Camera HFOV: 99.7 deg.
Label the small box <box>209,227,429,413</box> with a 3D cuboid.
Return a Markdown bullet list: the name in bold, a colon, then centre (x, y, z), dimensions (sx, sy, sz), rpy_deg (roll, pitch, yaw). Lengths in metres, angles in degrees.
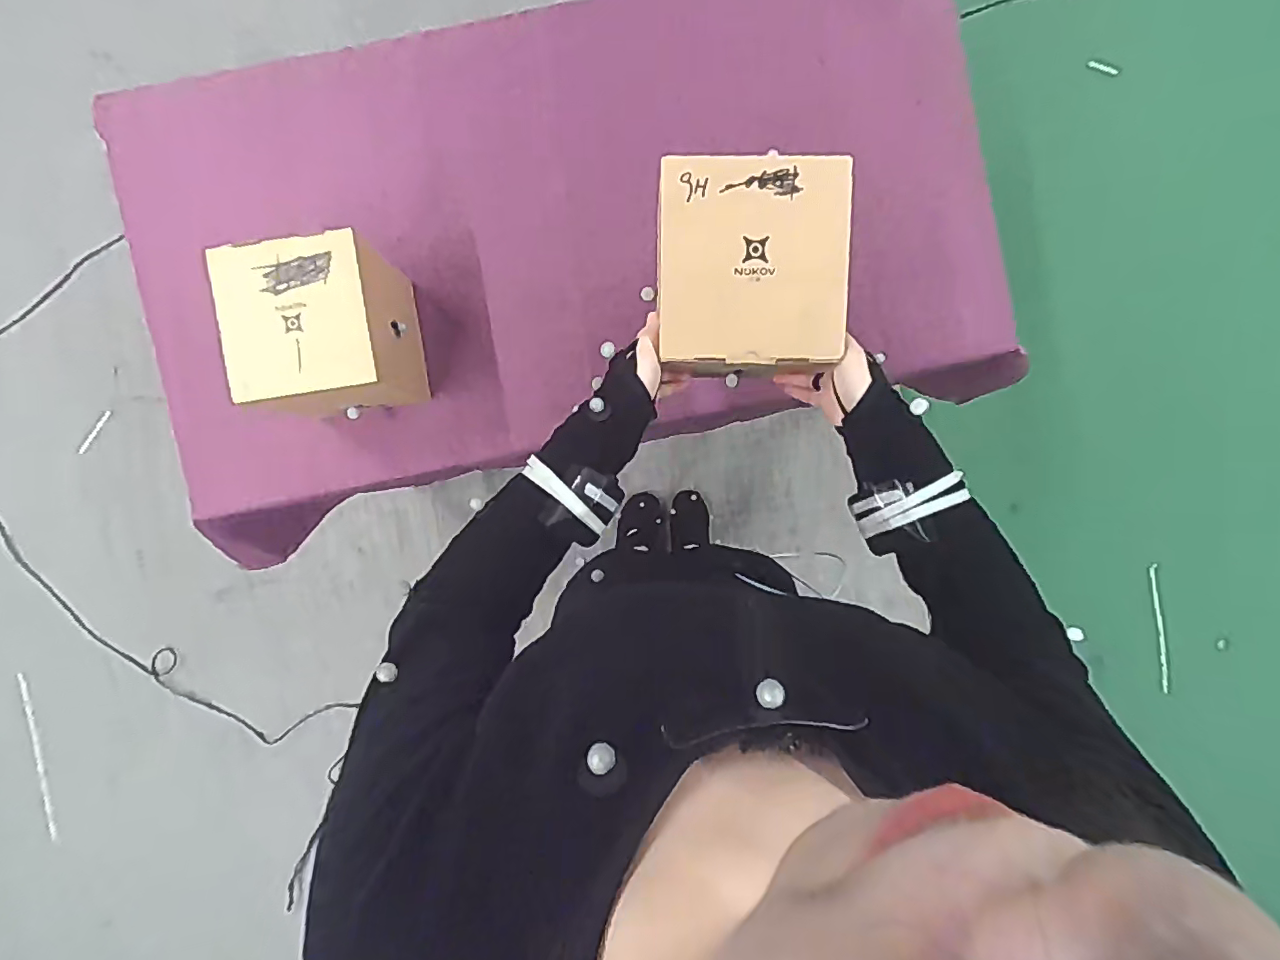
- **small box**: centre (-0.386, -0.188, 0.680), dimensions (0.168, 0.176, 0.179), rpy_deg (-9, 92, -1)

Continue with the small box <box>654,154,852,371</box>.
- **small box**: centre (0.100, -0.205, 0.554), dimensions (0.168, 0.176, 0.179), rpy_deg (0, 97, 0)
